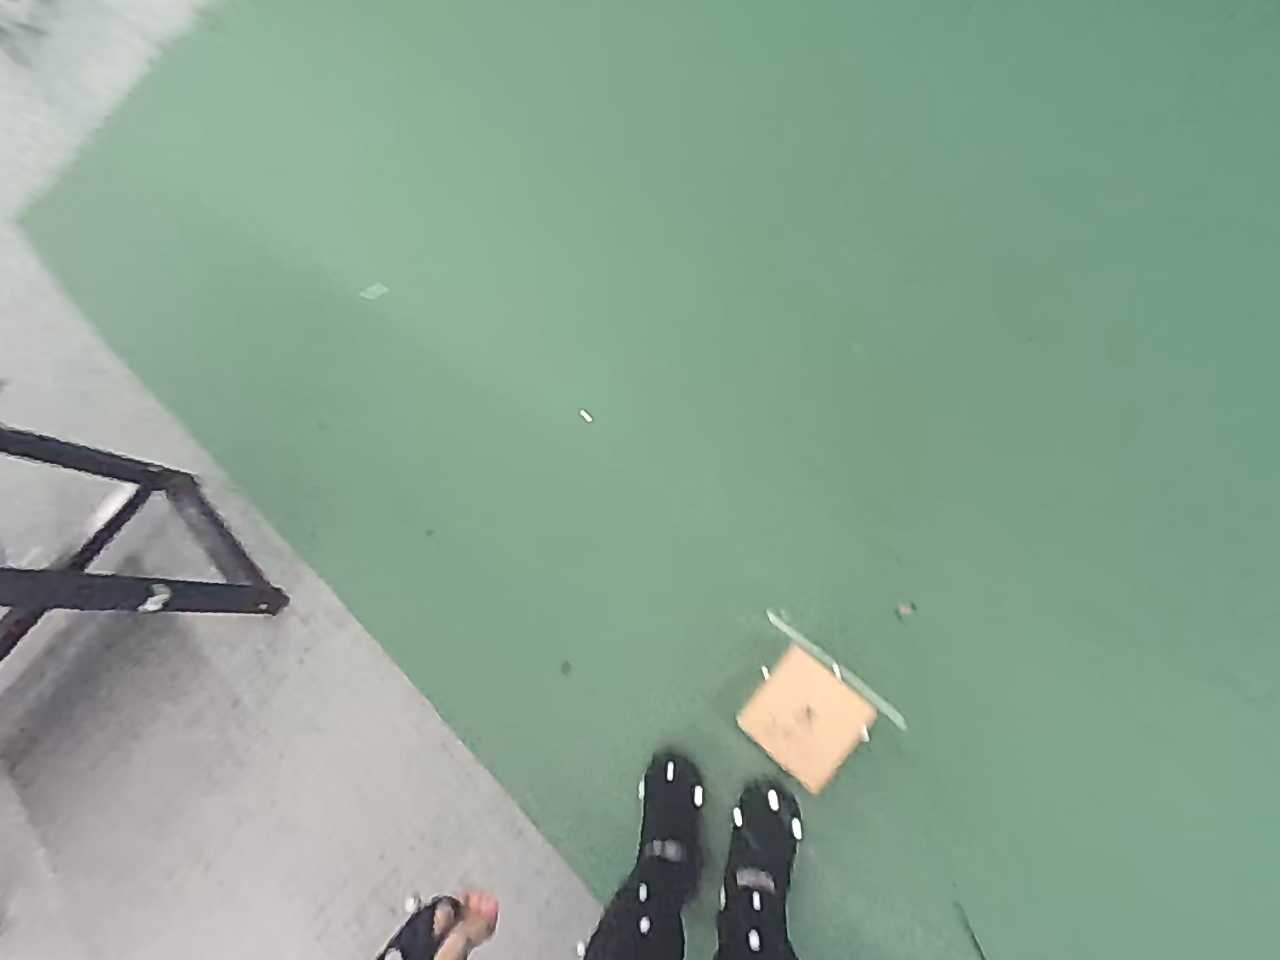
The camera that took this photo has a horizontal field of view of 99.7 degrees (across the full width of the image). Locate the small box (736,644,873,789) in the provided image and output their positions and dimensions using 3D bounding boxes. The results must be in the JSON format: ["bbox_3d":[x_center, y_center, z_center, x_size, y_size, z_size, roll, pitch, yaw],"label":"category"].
[{"bbox_3d":[0.295,0.422,1.002,0.168,0.176,0.179,39,86,20],"label":"small box"}]
